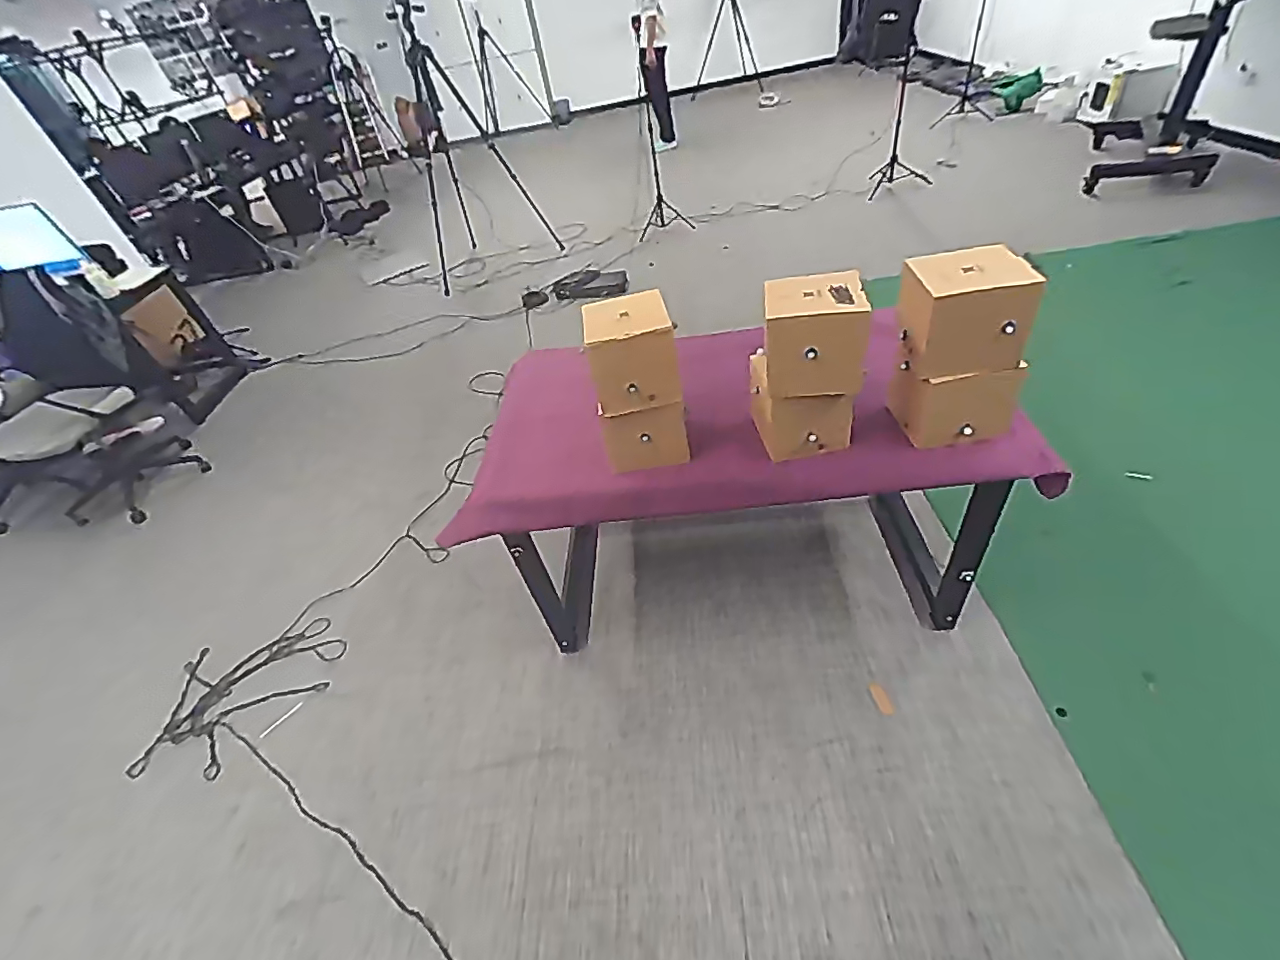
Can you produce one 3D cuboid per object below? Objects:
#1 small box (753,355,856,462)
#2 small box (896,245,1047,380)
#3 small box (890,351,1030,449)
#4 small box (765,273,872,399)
[{"bbox_3d":[0.343,-0.164,1.156,0.168,0.176,0.179,-11,41,3],"label":"small box"},{"bbox_3d":[0.594,-0.306,0.997,0.179,0.176,0.168,-6,43,10],"label":"small box"},{"bbox_3d":[0.635,-0.184,1.099,0.179,0.176,0.168,-10,42,5],"label":"small box"},{"bbox_3d":[0.329,-0.270,1.028,0.179,0.176,0.168,-2,42,14],"label":"small box"}]
